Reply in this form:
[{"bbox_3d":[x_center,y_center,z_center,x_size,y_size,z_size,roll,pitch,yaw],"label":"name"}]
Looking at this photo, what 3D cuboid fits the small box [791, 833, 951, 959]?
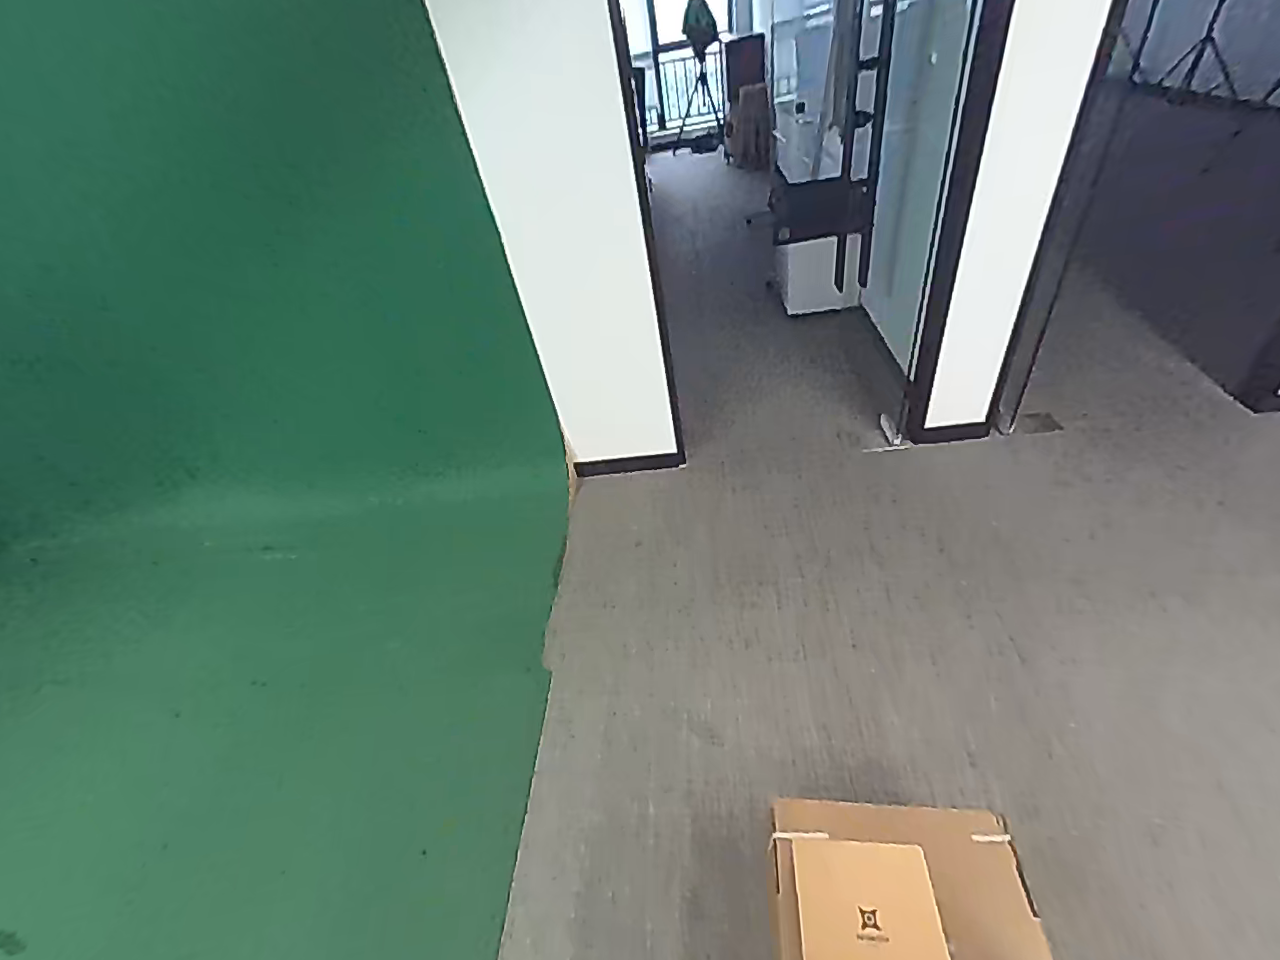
[{"bbox_3d":[0.288,0.589,0.697,0.168,0.176,0.179,-4,40,11],"label":"small box"}]
